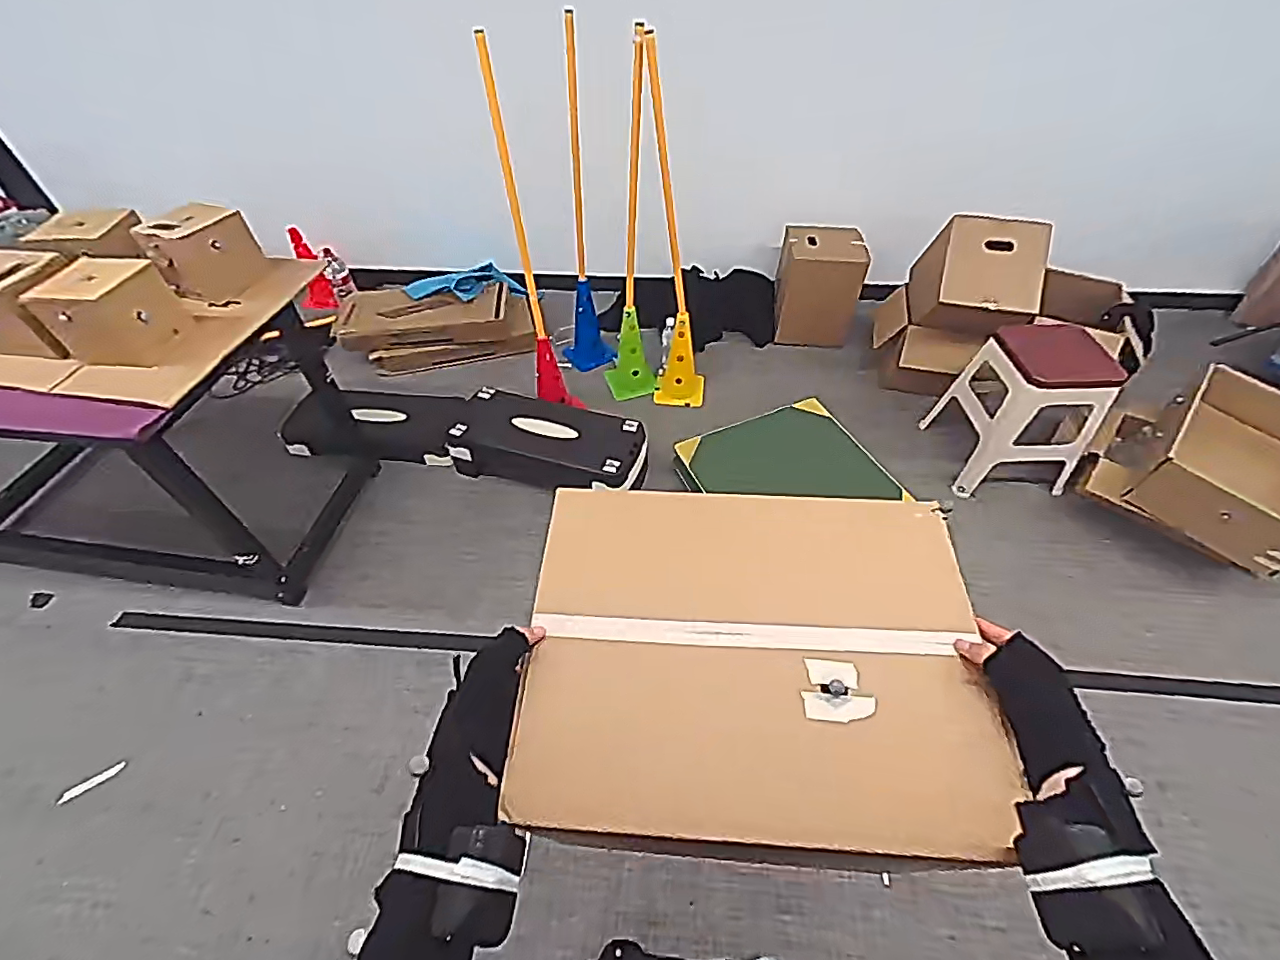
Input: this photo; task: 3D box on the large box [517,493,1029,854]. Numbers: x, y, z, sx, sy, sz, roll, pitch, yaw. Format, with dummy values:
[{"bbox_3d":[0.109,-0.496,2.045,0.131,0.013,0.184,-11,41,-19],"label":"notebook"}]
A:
[{"bbox_3d":[0.107,0.230,0.623,0.408,0.320,0.320,2,55,3],"label":"large box"}]
